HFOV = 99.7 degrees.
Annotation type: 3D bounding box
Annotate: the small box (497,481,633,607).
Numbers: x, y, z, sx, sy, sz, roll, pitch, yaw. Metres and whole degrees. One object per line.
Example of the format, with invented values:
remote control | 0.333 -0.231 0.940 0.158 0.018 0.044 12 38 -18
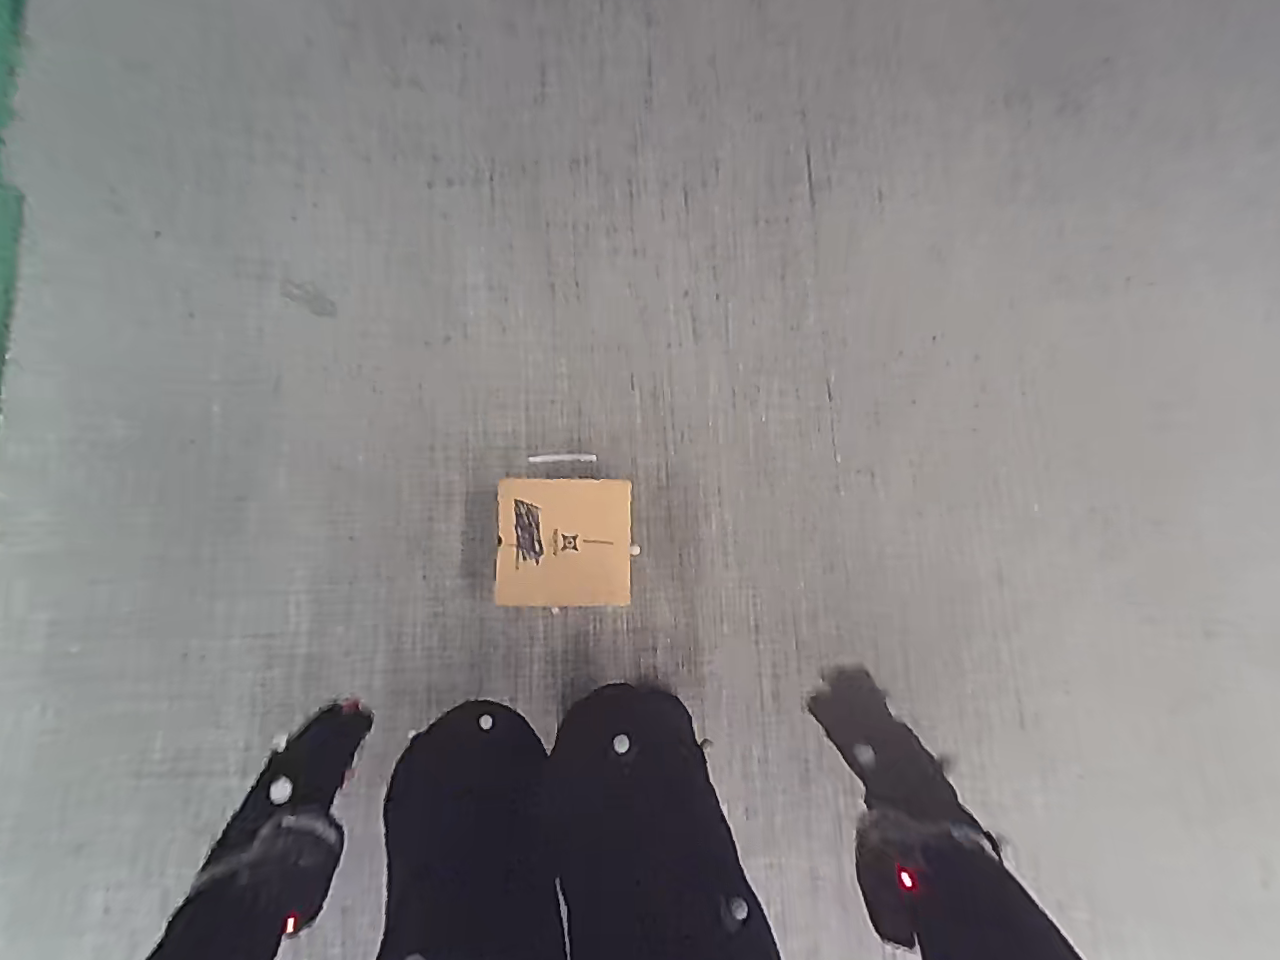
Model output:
small box | -0.100 0.097 0.789 0.179 0.176 0.168 1 81 -3
